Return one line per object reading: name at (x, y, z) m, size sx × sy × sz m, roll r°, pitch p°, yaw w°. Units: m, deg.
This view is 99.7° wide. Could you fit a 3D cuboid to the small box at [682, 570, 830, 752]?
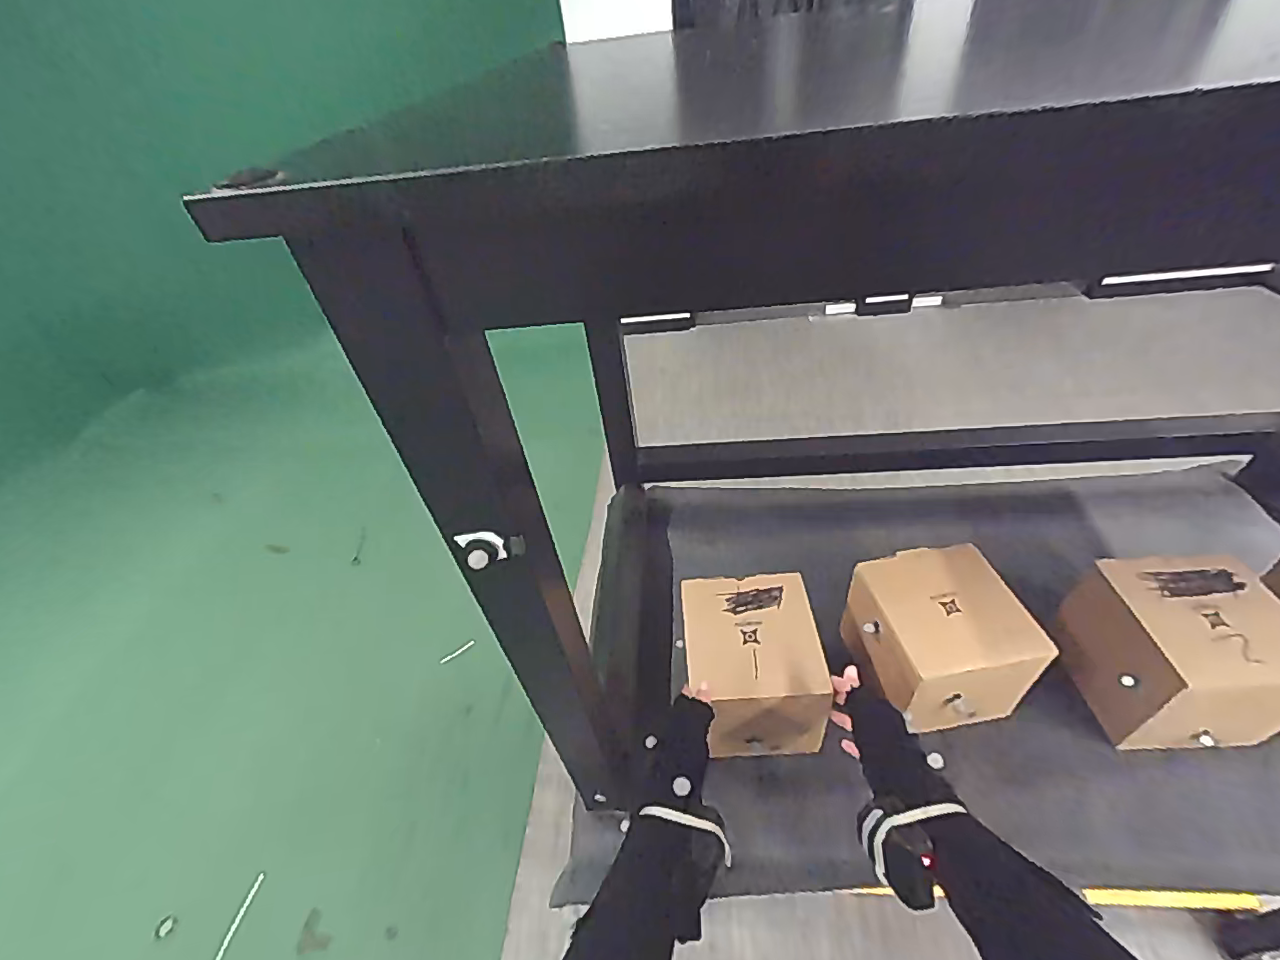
small box at (0.145, 0.246, 0.735) m, size 0.168 × 0.176 × 0.179 m, roll -5°, pitch 43°, yaw 4°
